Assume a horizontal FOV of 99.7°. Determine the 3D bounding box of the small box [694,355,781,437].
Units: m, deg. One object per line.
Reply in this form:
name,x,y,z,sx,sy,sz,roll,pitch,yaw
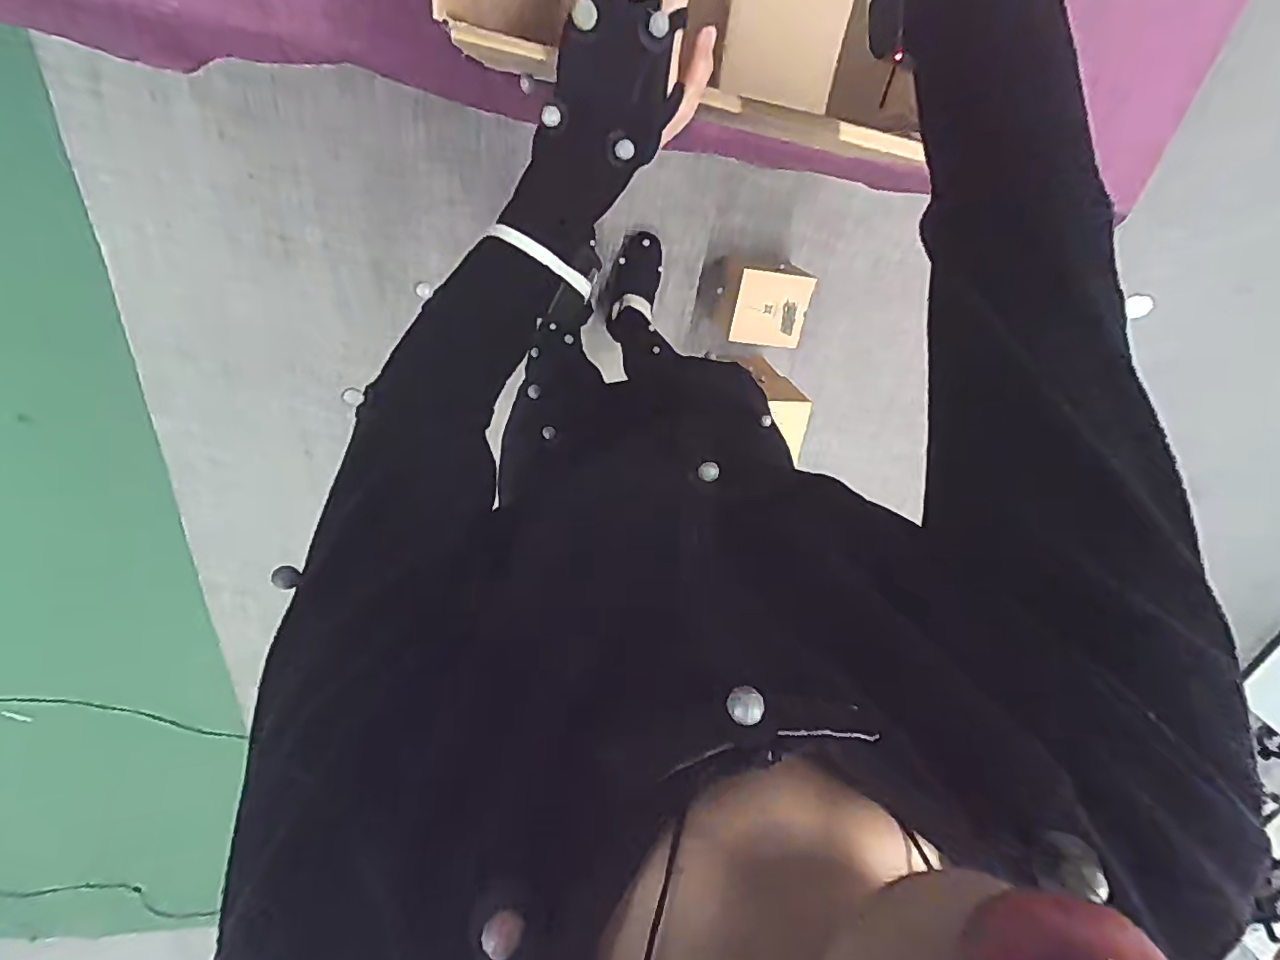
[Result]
small box,0.250,-0.226,1.438,0.179,0.176,0.168,0,121,-9
